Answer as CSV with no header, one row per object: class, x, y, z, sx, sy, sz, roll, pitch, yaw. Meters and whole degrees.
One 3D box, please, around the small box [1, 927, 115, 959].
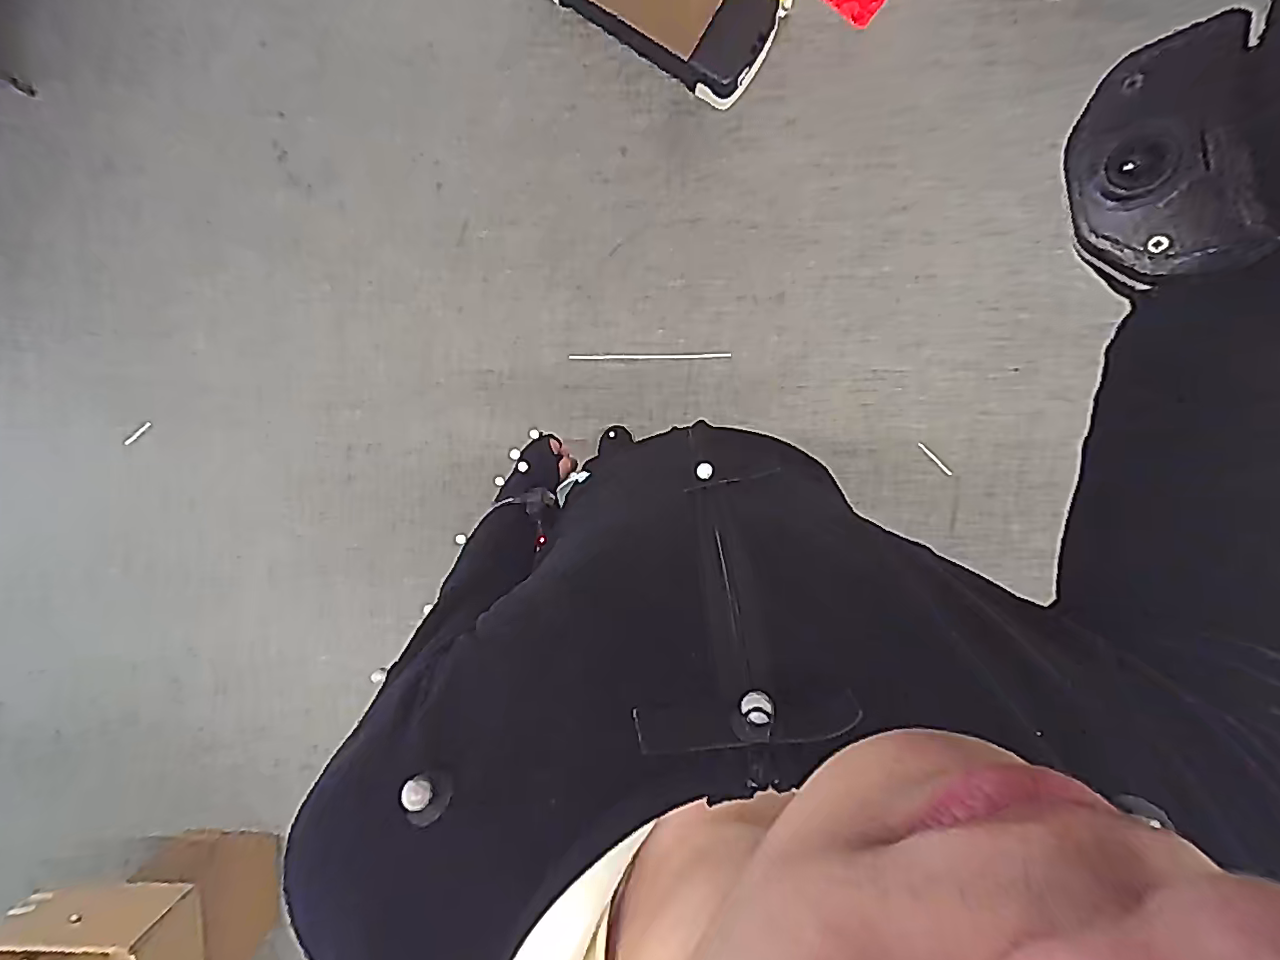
small box,-1.360,1.162,1.227,0.179,0.176,0.168,2,93,-1
